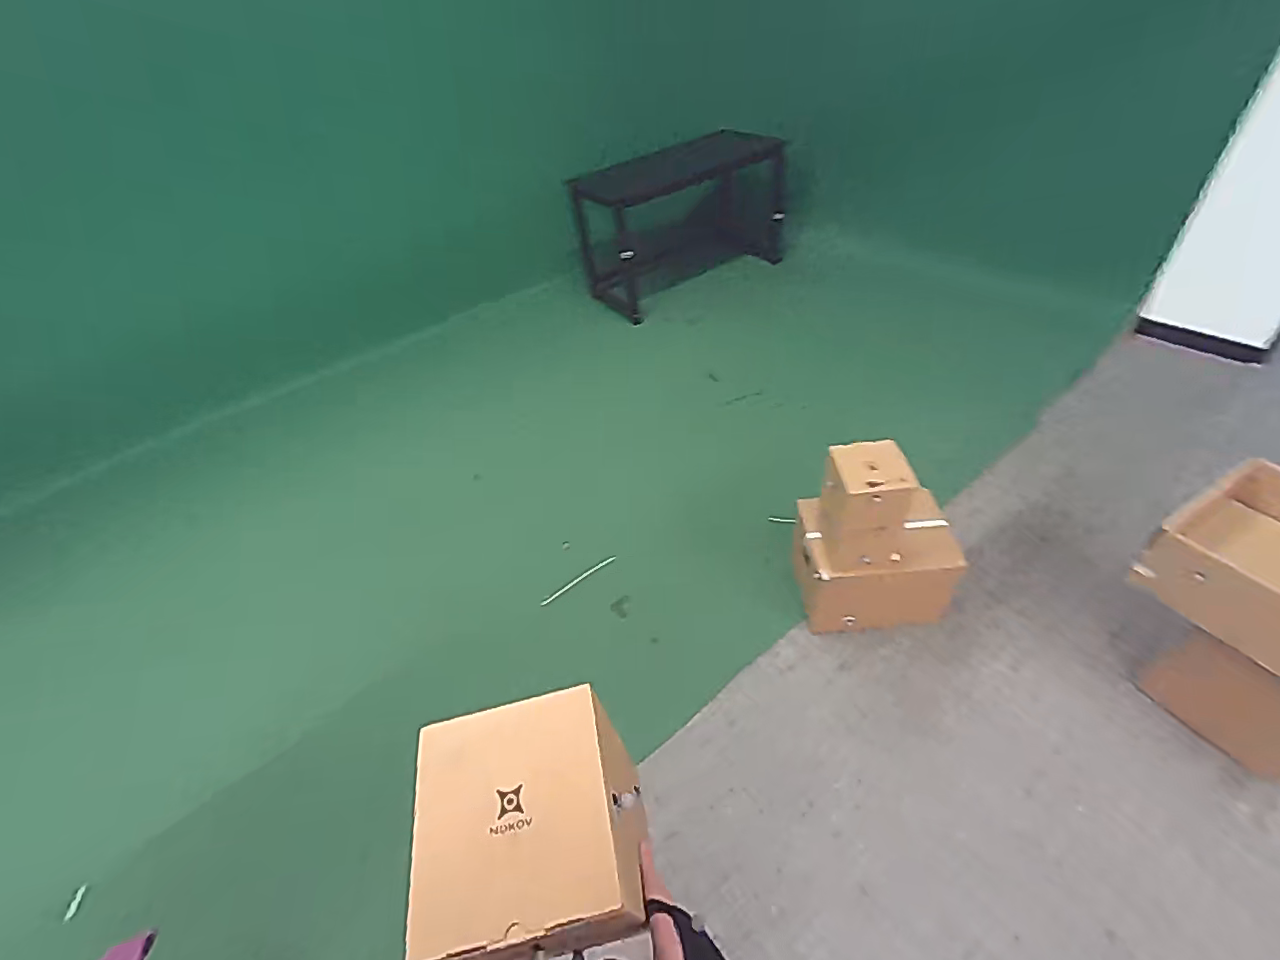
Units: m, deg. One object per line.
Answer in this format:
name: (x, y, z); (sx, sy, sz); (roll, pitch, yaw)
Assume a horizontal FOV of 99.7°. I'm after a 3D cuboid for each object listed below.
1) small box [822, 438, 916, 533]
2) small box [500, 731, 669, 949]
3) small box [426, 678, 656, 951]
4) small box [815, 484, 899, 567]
small box: (0.584, 0.016, 1.406); (0.168, 0.176, 0.179); (-7, 45, 3)
small box: (-0.065, 0.425, 0.637); (0.168, 0.176, 0.179); (-12, 50, -1)
small box: (-0.085, 0.319, 0.516); (0.168, 0.176, 0.179); (-13, 50, -2)
small box: (0.603, 0.123, 1.529); (0.168, 0.176, 0.179); (-7, 46, 4)
